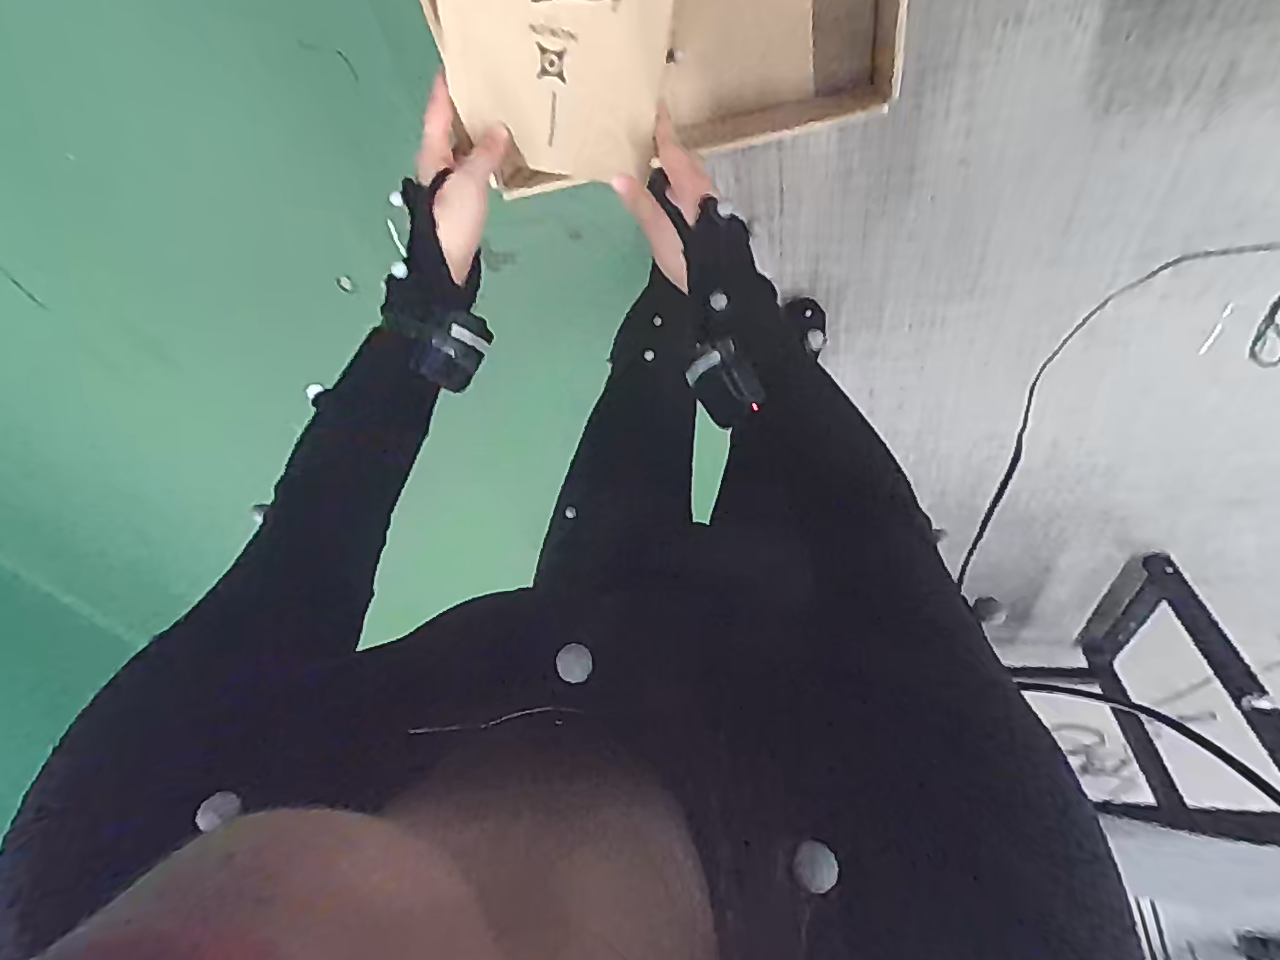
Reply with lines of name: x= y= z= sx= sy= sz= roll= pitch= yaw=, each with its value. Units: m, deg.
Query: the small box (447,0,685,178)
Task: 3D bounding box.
small box: x=-0.051 y=-0.383 z=0.437 sx=0.168 sy=0.176 sz=0.179 roll=8 pitch=142 yaw=-4
